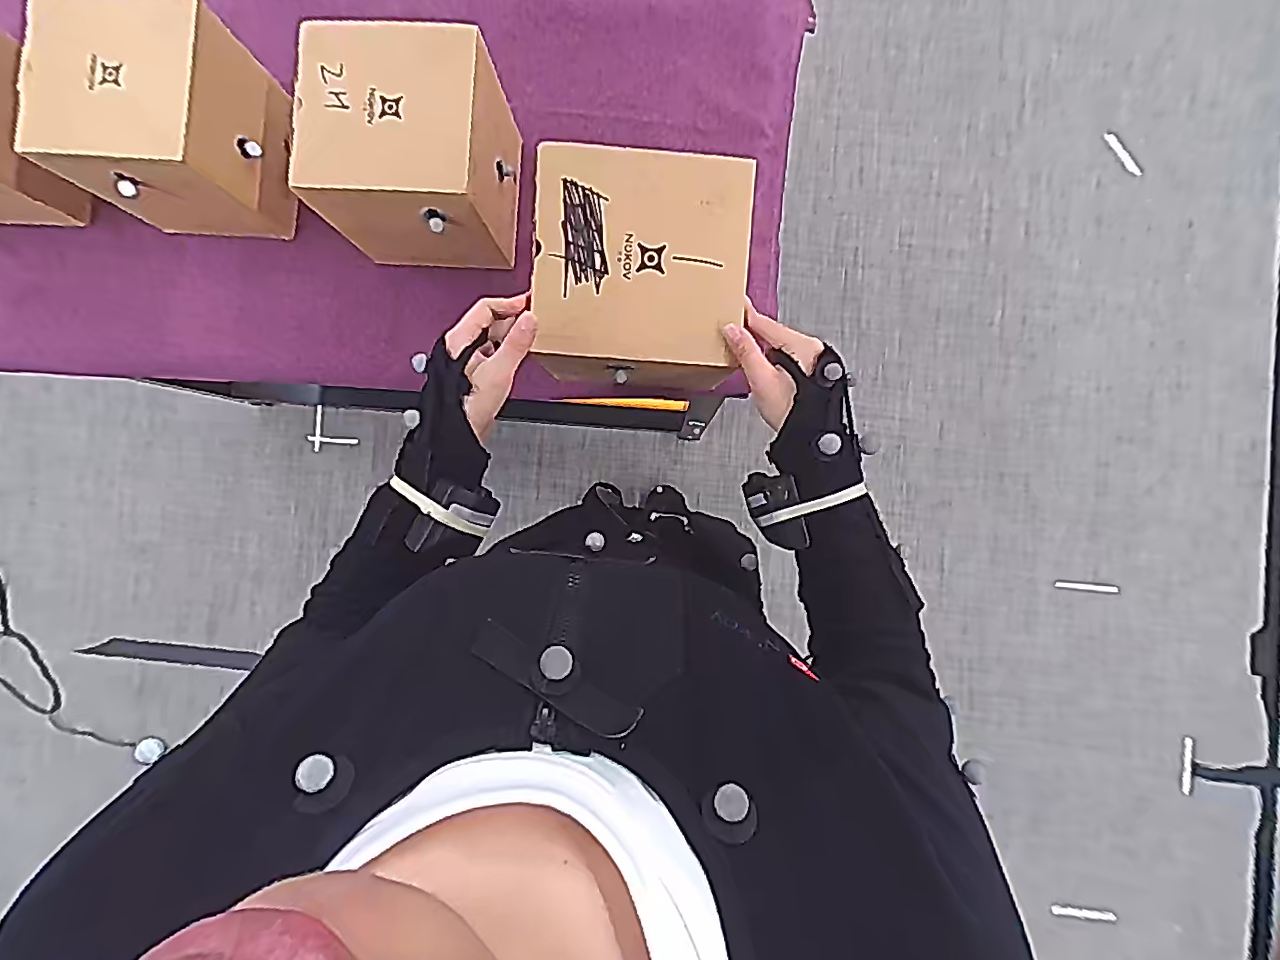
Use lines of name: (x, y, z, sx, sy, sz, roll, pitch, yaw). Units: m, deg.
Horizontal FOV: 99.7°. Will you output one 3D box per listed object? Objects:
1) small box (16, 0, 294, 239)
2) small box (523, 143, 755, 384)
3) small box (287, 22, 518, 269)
small box: (-0.515, -0.389, 0.606, 0.179, 0.176, 0.168, 4, 89, 3)
small box: (-0.002, -0.183, 0.508, 0.179, 0.176, 0.168, 4, 96, -1)
small box: (-0.240, -0.346, 0.591, 0.179, 0.176, 0.168, 3, 87, 3)
